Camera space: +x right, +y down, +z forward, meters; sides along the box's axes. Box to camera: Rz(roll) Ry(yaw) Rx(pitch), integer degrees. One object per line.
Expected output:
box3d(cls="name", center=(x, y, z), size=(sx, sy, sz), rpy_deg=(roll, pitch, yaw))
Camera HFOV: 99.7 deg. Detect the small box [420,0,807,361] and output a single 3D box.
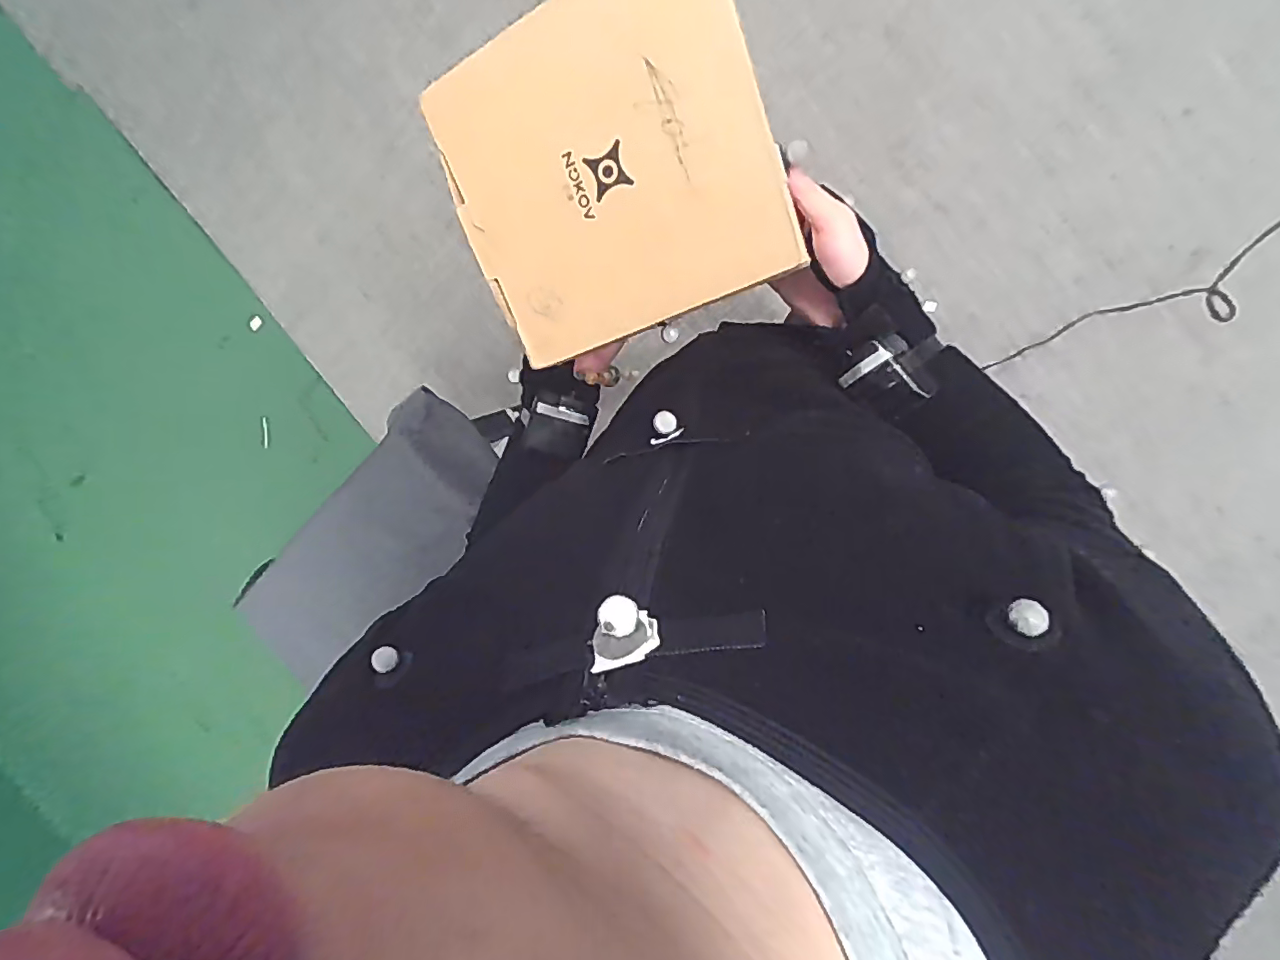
box3d(cls="small box", center=(0.003, -0.195, 0.360), size=(0.179, 0.176, 0.168), rpy_deg=(-16, 105, 23))
